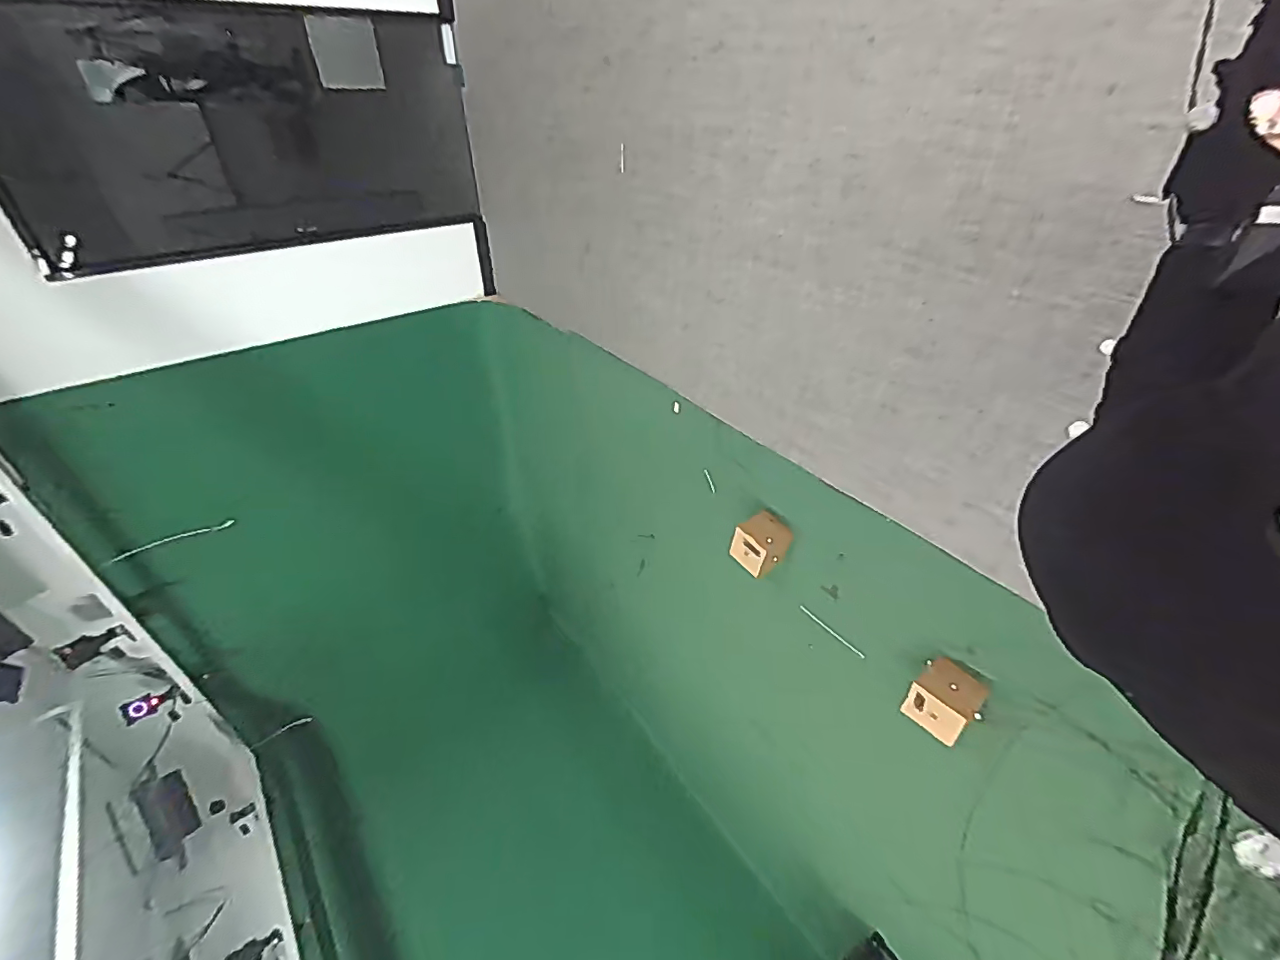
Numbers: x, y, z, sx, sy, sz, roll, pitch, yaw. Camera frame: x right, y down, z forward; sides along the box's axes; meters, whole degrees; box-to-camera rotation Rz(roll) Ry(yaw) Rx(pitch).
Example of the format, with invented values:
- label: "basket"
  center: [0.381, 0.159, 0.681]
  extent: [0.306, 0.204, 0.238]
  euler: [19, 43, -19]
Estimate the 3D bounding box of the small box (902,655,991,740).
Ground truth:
- label: "small box"
  center: [1.015, 0.709, 1.792]
  extent: [0.179, 0.176, 0.168]
  euler: [35, 139, 39]
